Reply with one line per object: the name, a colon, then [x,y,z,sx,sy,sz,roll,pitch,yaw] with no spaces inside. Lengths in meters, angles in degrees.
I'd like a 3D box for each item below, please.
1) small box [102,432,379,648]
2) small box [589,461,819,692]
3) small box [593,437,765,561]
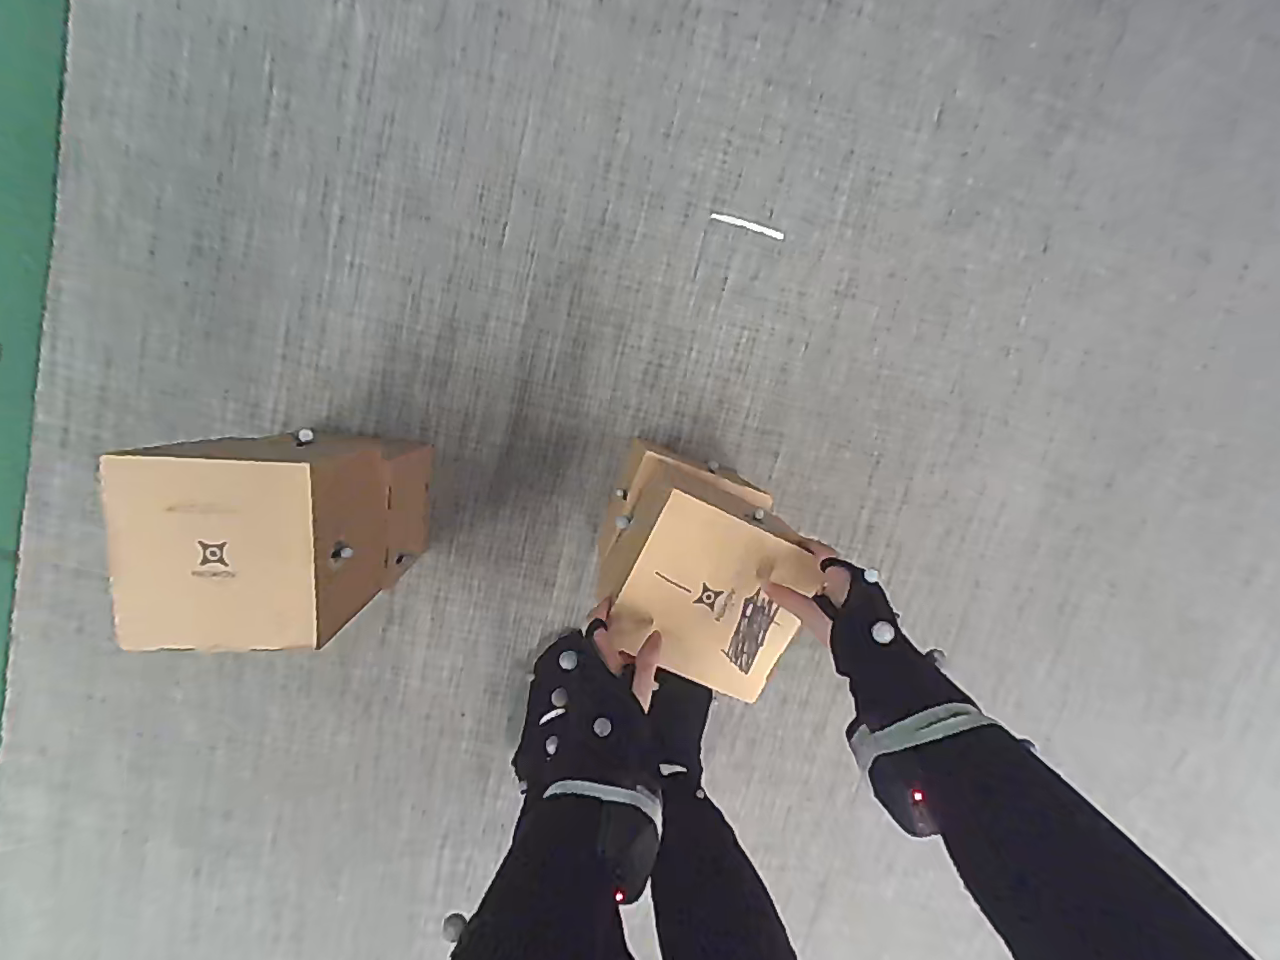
small box: [-0.378,0.050,0.549,0.168,0.176,0.179,3,100,-7]
small box: [0.057,0.092,0.597,0.179,0.176,0.168,25,99,-8]
small box: [0.042,0.047,0.758,0.179,0.176,0.168,20,97,-9]
